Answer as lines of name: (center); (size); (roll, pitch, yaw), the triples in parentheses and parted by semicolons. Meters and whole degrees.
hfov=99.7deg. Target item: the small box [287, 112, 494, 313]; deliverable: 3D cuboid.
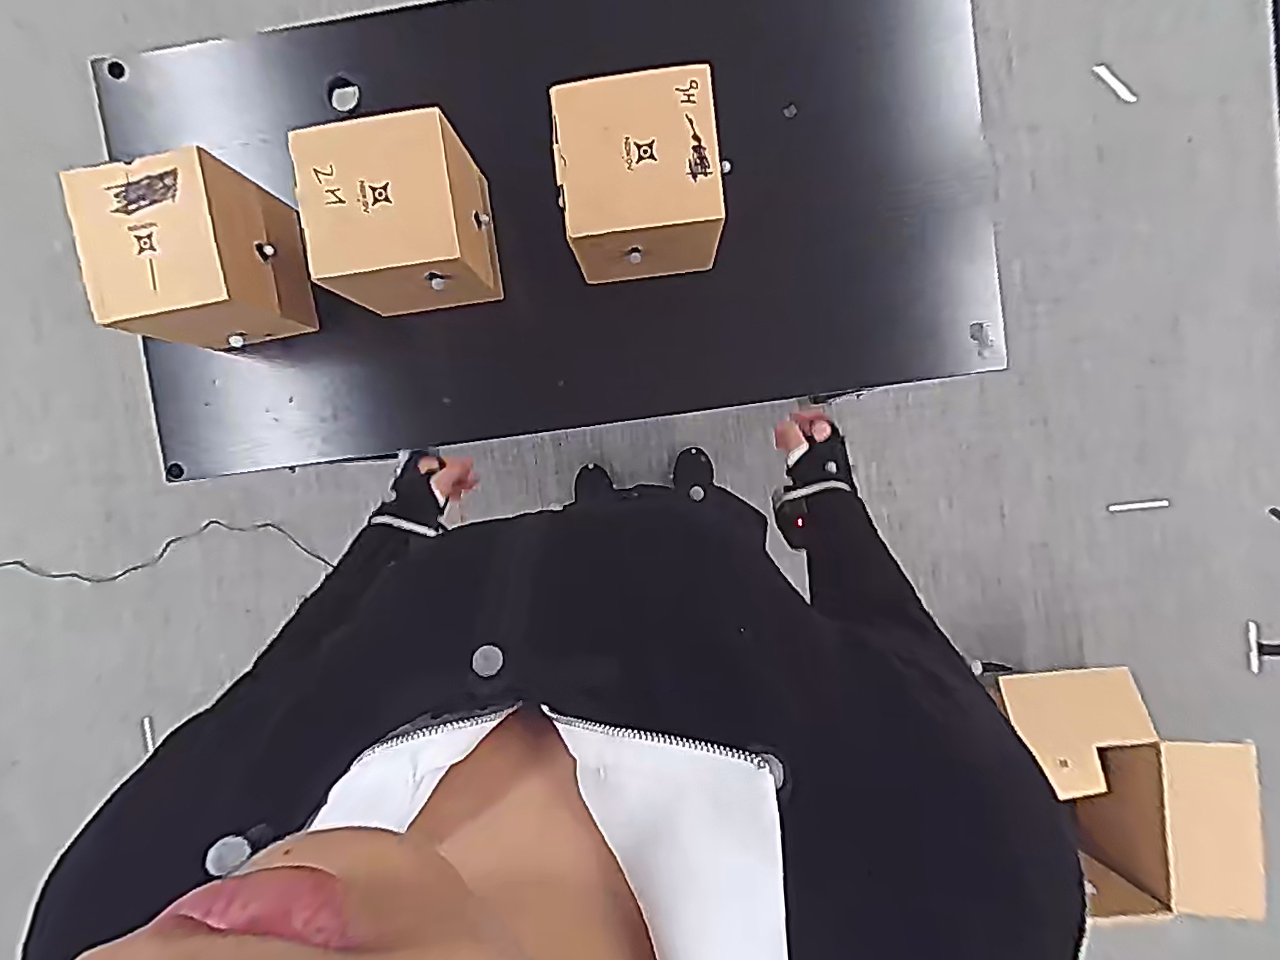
small box: (-0.295, -0.321, 0.683); (0.179, 0.176, 0.168); (-7, 93, 3)

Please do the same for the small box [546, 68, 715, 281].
small box: (-0.006, -0.359, 0.671); (0.179, 0.176, 0.168); (-6, 93, 3)

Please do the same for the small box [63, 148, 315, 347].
small box: (-0.559, -0.283, 0.696); (0.168, 0.176, 0.179); (-9, 94, 3)
